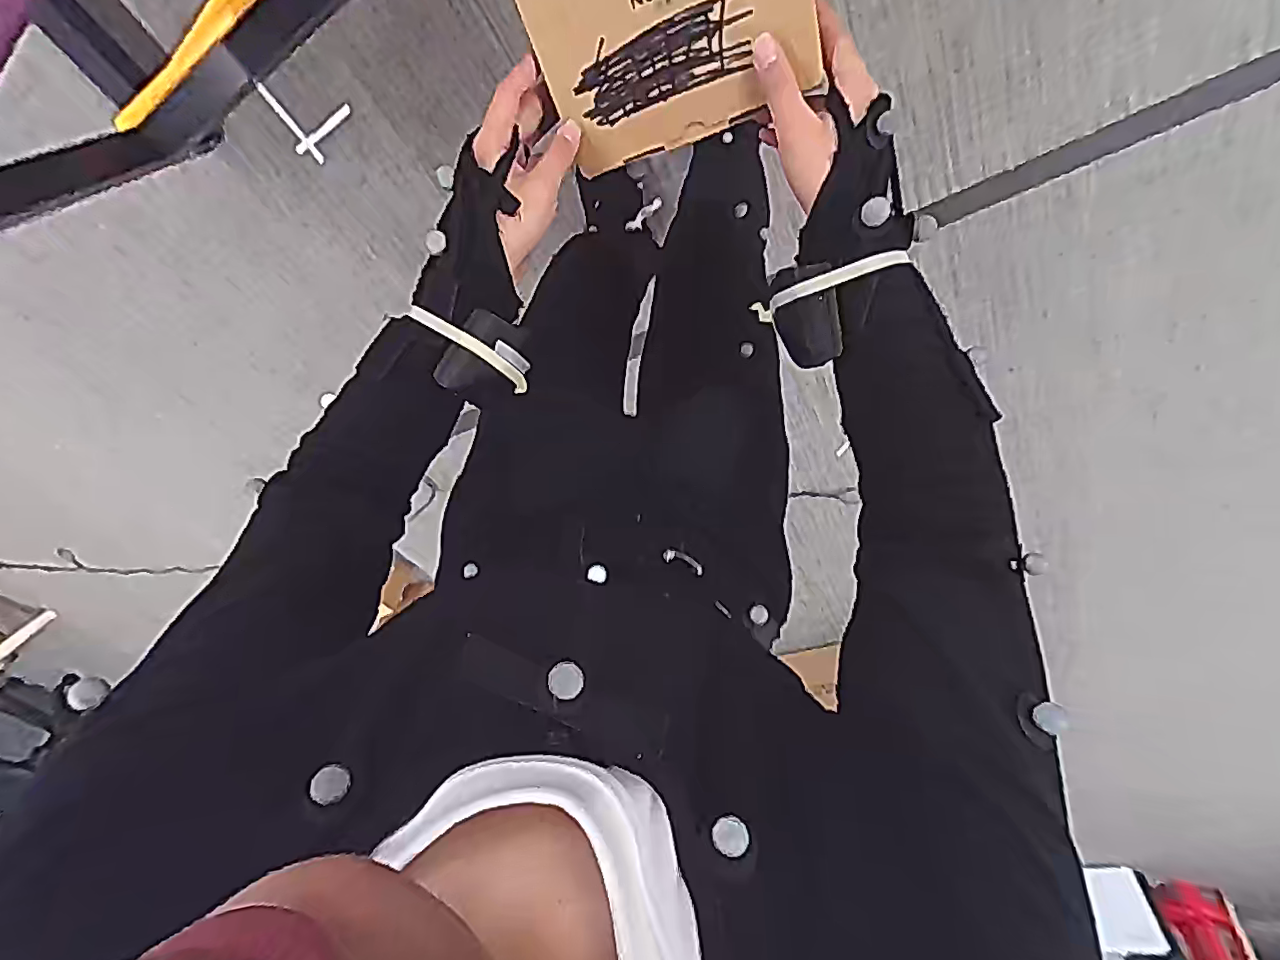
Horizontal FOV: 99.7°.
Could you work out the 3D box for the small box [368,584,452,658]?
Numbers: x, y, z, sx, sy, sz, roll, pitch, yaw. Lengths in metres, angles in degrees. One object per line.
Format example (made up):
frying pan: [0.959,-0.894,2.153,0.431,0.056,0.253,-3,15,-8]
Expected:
small box: [-0.773,0.479,1.840,0.168,0.176,0.179,-20,130,20]
